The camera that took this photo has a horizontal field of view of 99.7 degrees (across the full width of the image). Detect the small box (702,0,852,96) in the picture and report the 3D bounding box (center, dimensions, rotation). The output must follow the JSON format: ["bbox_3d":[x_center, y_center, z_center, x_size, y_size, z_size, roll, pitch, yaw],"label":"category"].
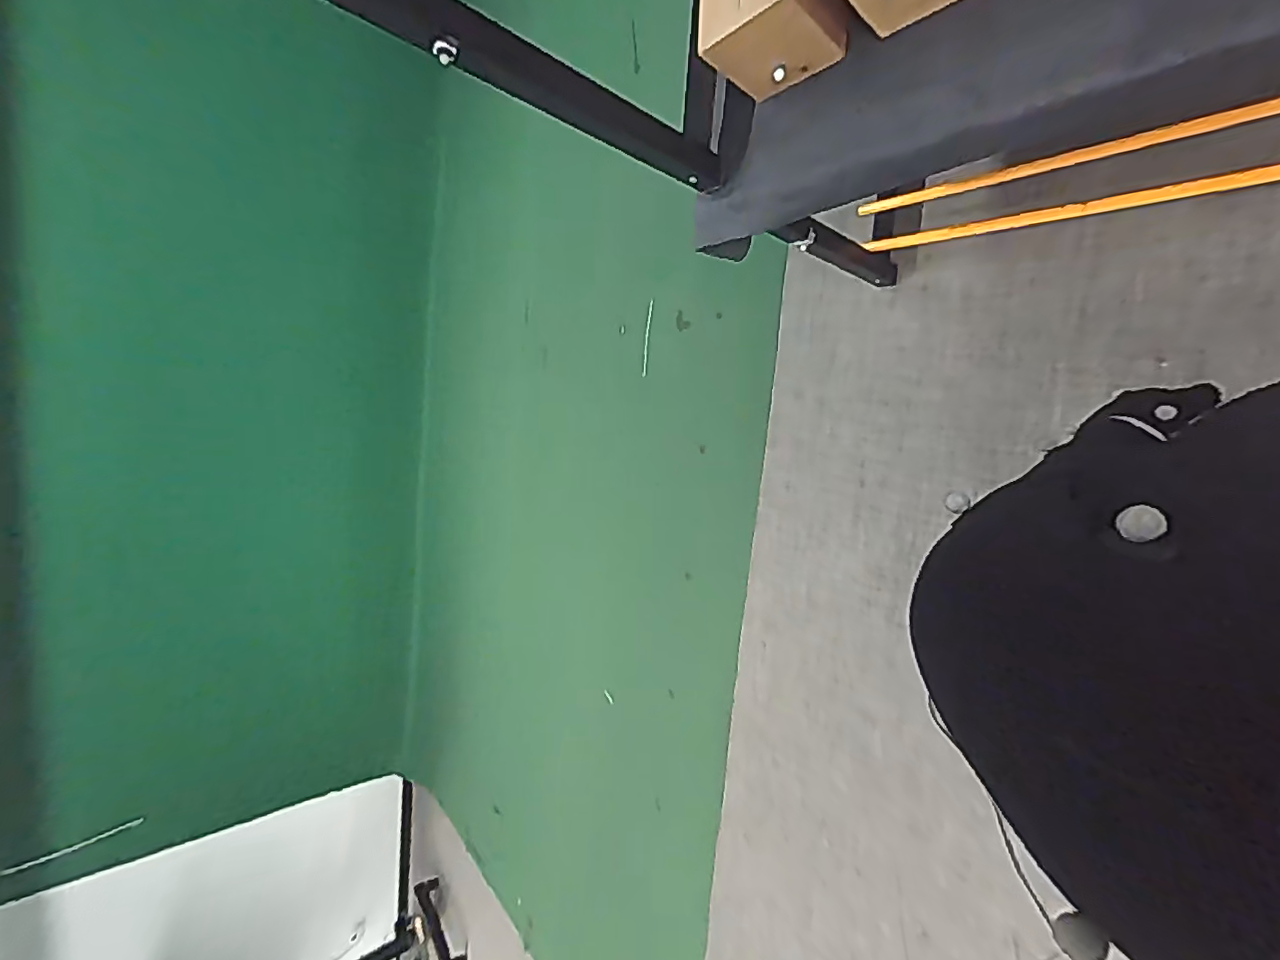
[{"bbox_3d":[0.217,-0.755,0.843,0.168,0.176,0.179,8,96,49],"label":"small box"}]
